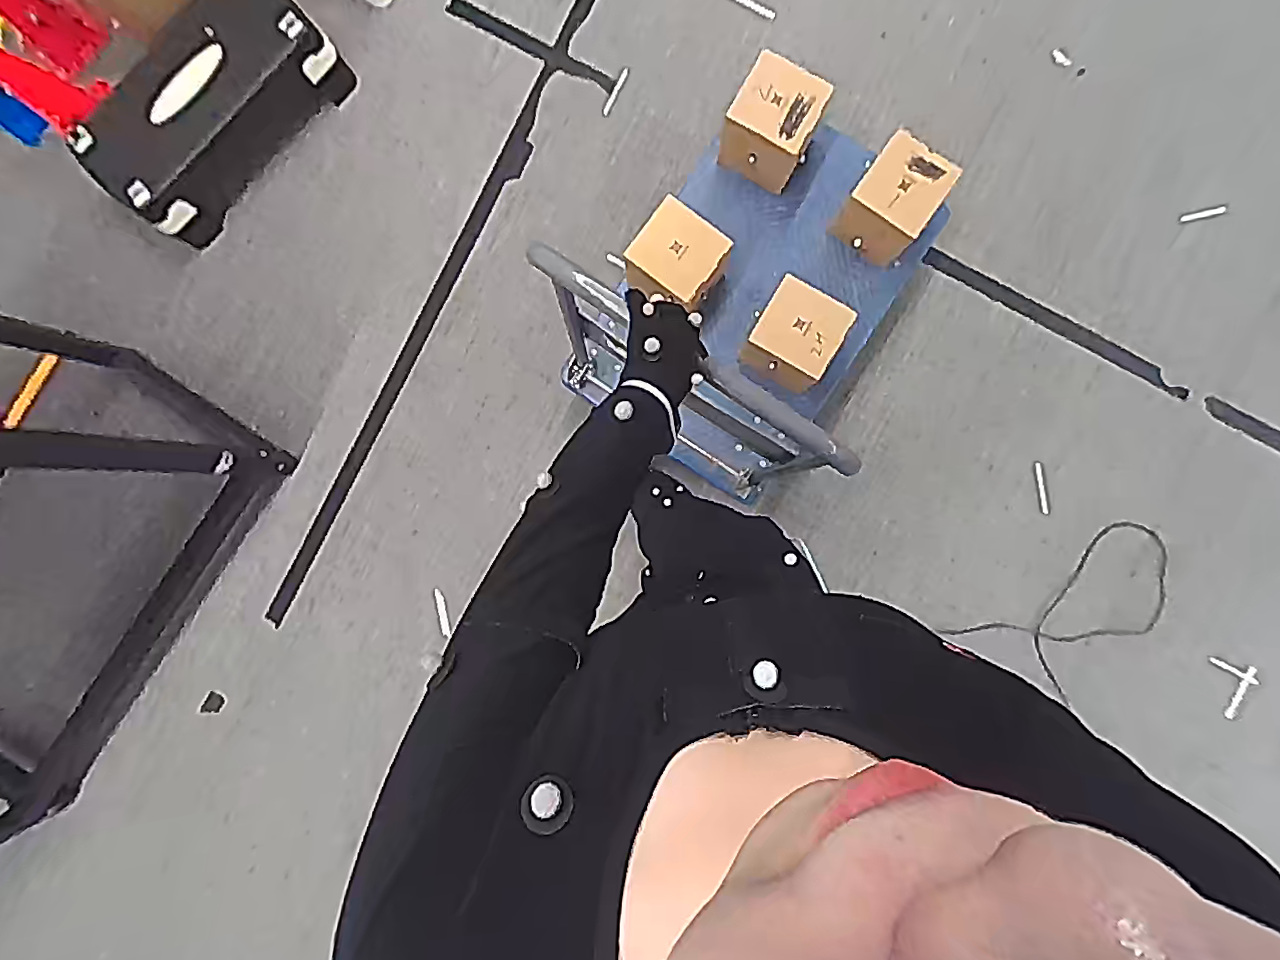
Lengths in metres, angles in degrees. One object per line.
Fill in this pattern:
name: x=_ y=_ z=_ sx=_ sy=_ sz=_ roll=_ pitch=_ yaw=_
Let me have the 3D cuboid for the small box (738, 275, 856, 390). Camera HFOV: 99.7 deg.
small box: x=0.340 y=-0.320 z=1.216 sx=0.179 sy=0.176 sz=0.168 roll=31 pitch=91 yaw=1

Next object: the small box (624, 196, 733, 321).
small box: x=0.081 y=-0.488 z=1.223 sx=0.179 sy=0.176 sz=0.168 roll=37 pitch=90 yaw=0

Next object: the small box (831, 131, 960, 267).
small box: x=0.559 y=-0.618 z=1.212 sx=0.168 sy=0.176 sz=0.179 roll=36 pitch=92 yaw=1
